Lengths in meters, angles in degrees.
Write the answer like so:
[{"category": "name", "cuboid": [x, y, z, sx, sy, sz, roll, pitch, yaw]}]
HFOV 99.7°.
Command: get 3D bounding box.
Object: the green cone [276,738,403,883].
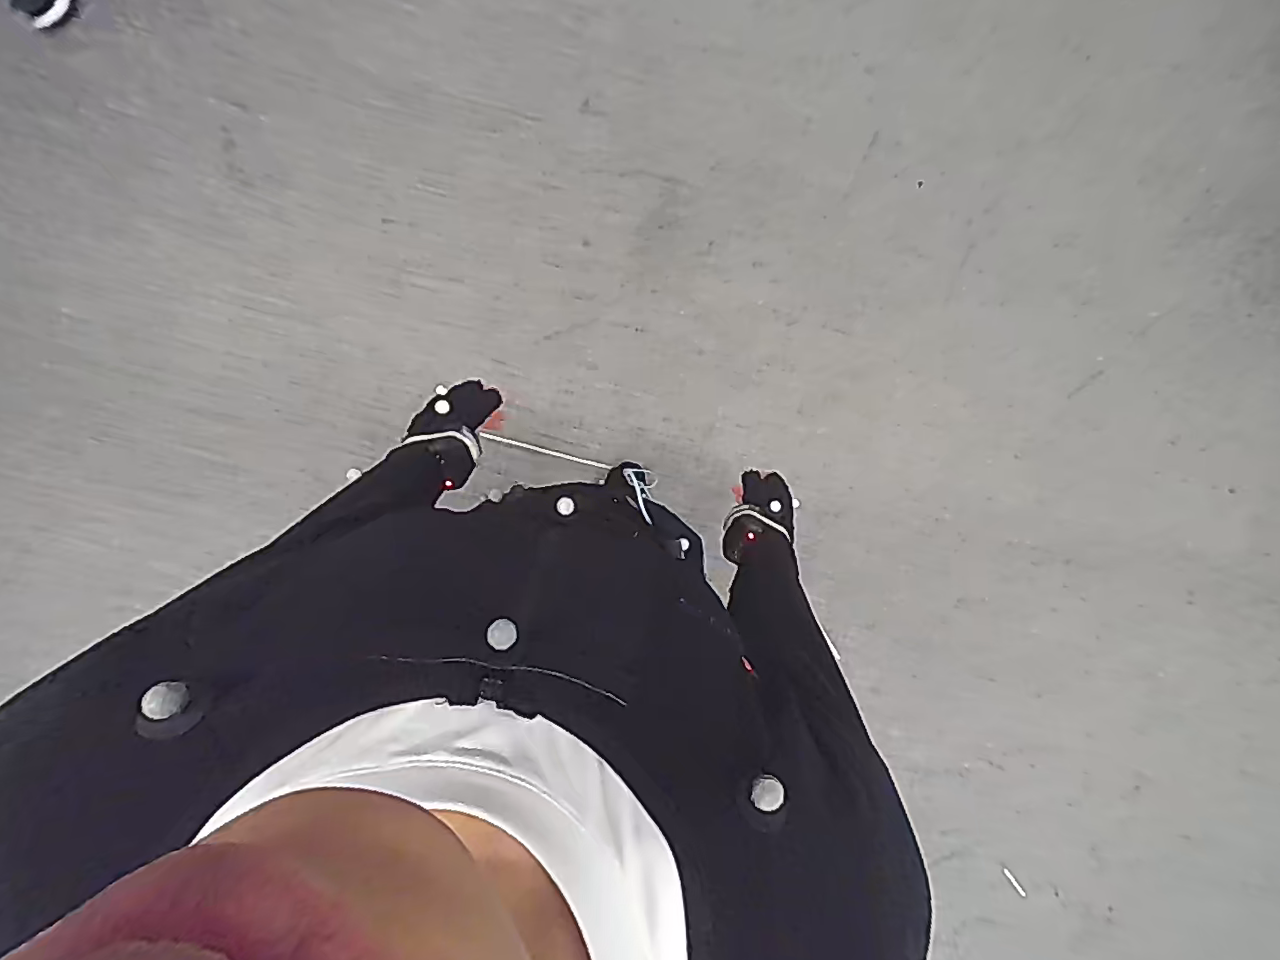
[{"category": "green cone", "cuboid": [-0.739, 0.803, 1.276, 0.202, 0.368, 0.200, 13, 90, -4]}]
